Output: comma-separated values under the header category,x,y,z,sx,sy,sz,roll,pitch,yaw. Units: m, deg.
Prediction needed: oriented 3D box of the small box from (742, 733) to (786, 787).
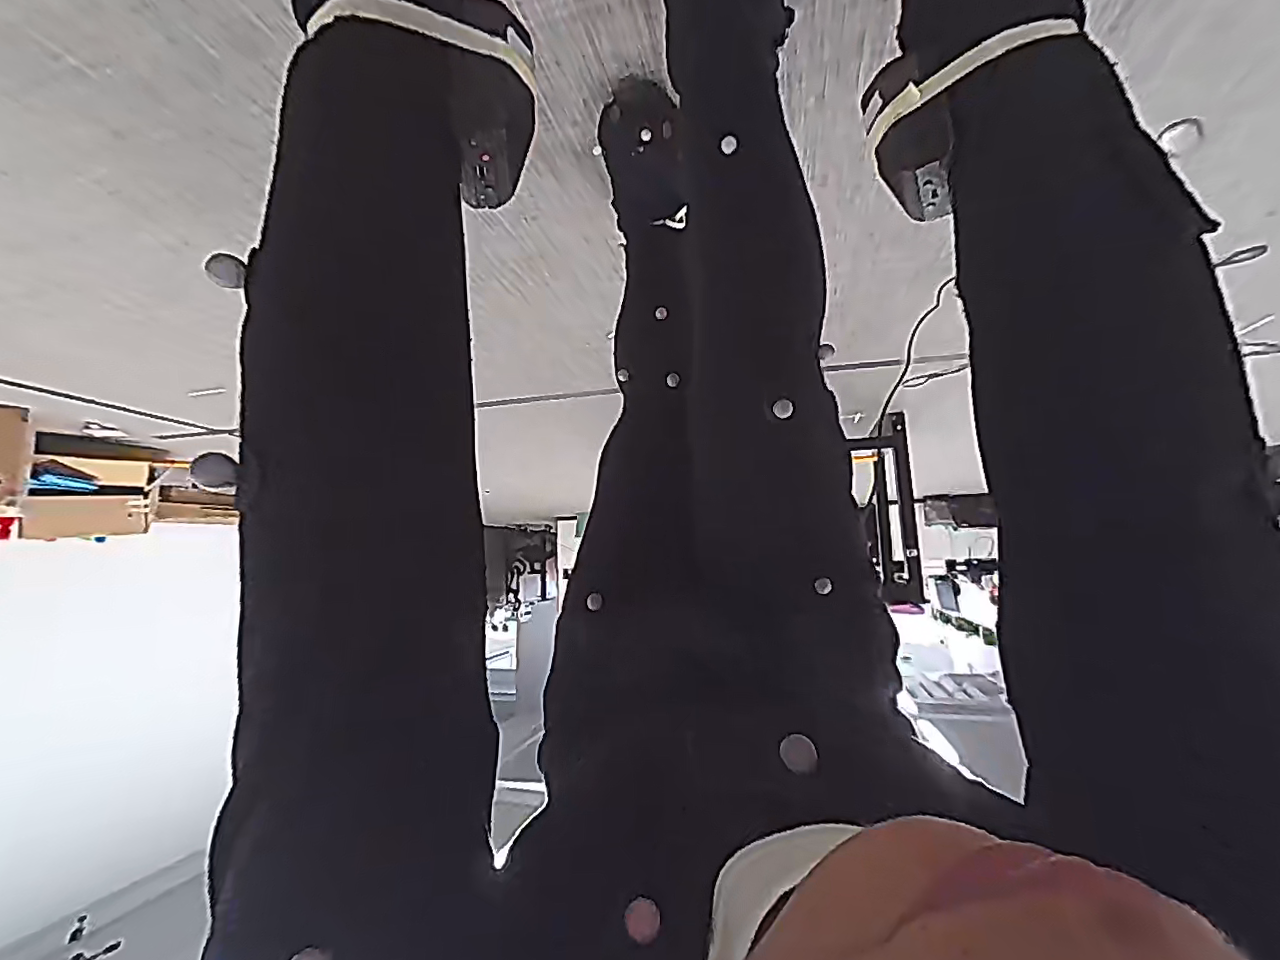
category,x,y,z,sx,sy,sz,roll,pitch,yaw
small box,0.551,1.237,2.400,0.179,0.176,0.168,-5,172,15
